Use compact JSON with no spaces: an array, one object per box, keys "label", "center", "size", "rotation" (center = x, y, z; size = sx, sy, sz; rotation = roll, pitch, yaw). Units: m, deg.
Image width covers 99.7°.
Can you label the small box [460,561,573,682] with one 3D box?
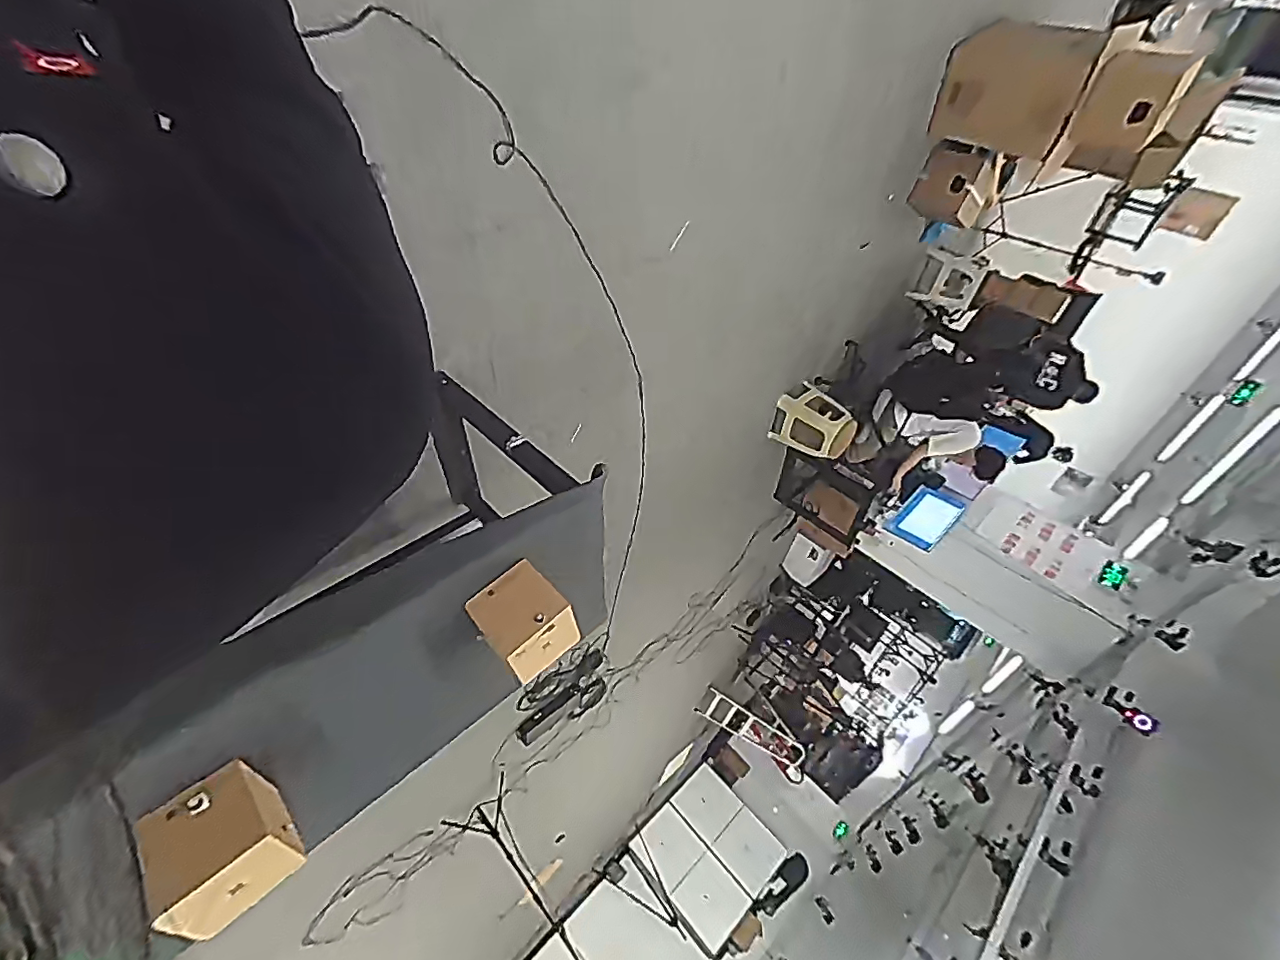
[{"label":"small box","center":[-0.275,0.314,1.217],"size":[0.168,0.176,0.179],"rotation":[-39,150,-25]}]

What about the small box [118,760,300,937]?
[{"label":"small box","center":[-0.722,0.616,0.916],"size":[0.168,0.176,0.179],"rotation":[-34,145,-33]}]
